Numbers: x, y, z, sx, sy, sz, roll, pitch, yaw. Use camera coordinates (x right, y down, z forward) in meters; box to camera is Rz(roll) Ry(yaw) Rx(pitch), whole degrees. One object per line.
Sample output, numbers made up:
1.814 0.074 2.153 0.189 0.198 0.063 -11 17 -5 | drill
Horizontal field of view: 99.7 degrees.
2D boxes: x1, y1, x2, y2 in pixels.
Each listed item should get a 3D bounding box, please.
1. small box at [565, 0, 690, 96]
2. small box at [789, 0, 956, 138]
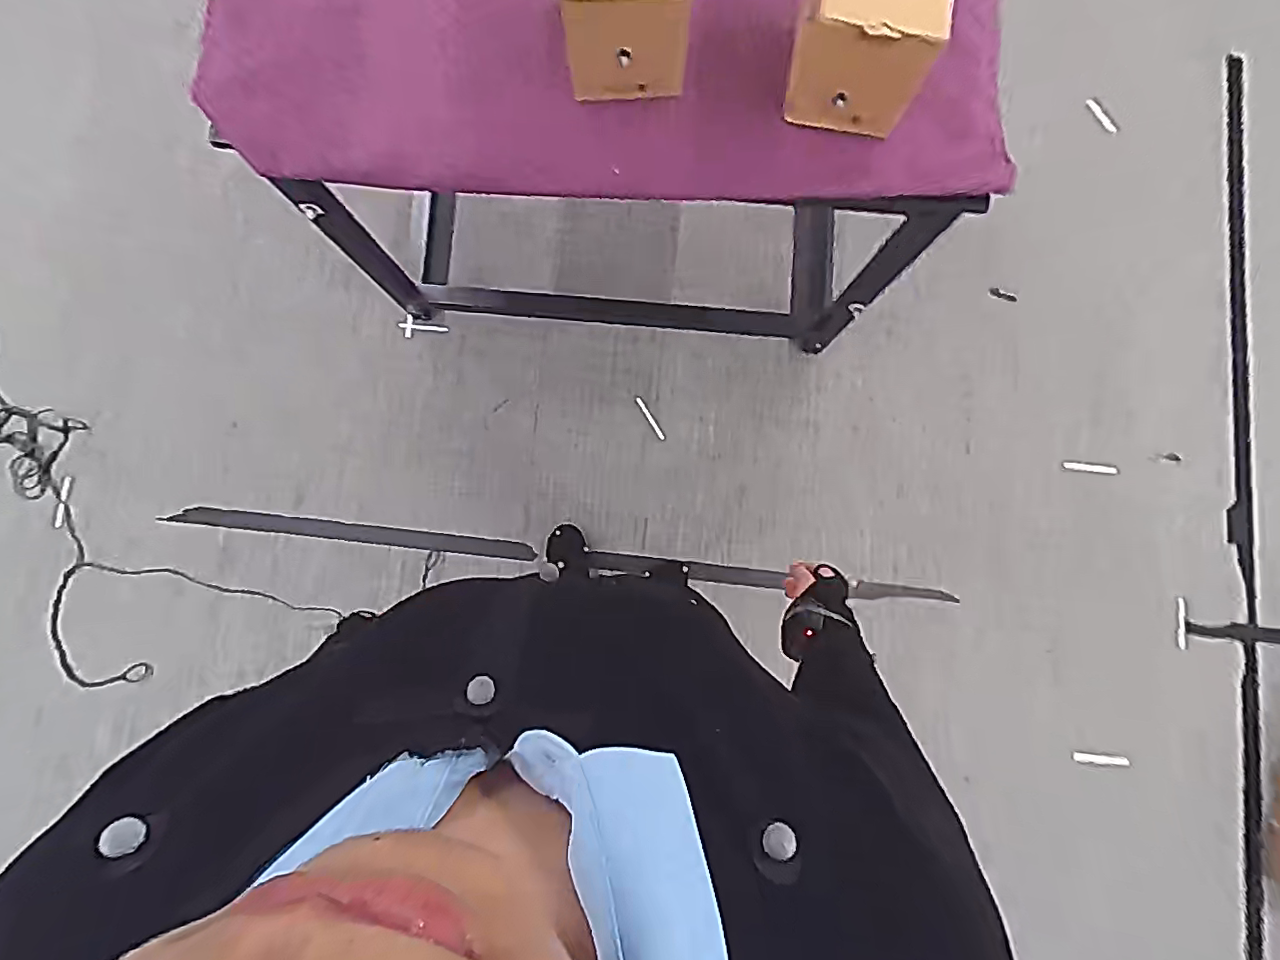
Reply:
-0.019 -0.684 0.769 0.168 0.176 0.179 -4 84 -2 | small box
0.324 -0.638 0.771 0.168 0.176 0.179 9 83 0 | small box
